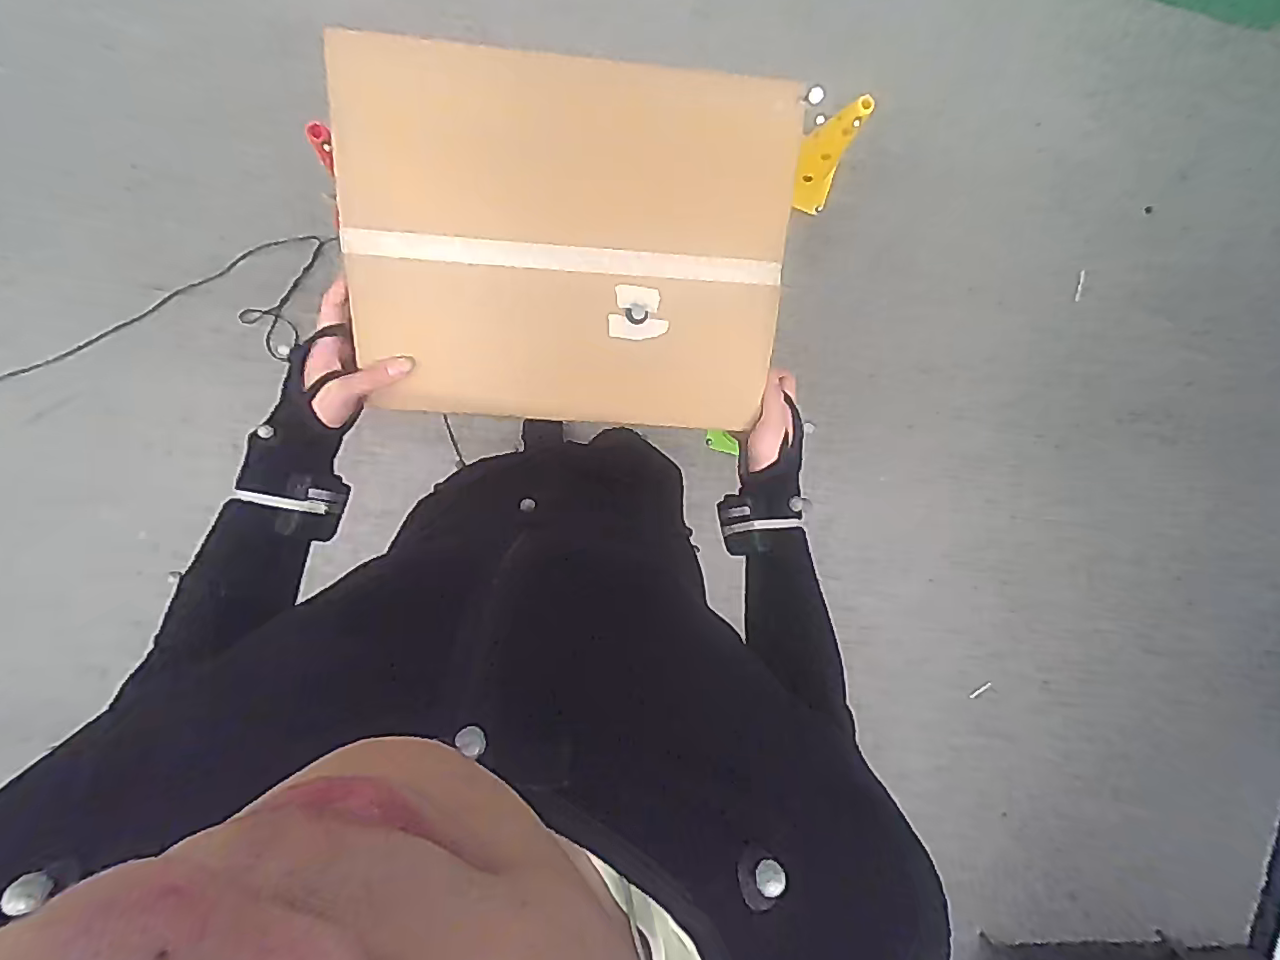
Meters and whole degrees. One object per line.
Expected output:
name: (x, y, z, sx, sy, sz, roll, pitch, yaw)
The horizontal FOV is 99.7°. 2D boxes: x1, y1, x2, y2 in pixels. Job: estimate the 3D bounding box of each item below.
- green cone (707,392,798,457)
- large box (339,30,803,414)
green cone: (0.344, -0.164, 1.494, 0.200, 0.368, 0.202, 13, 94, -10)
large box: (-0.072, -0.270, 0.650, 0.408, 0.320, 0.320, 2, 110, -5)
